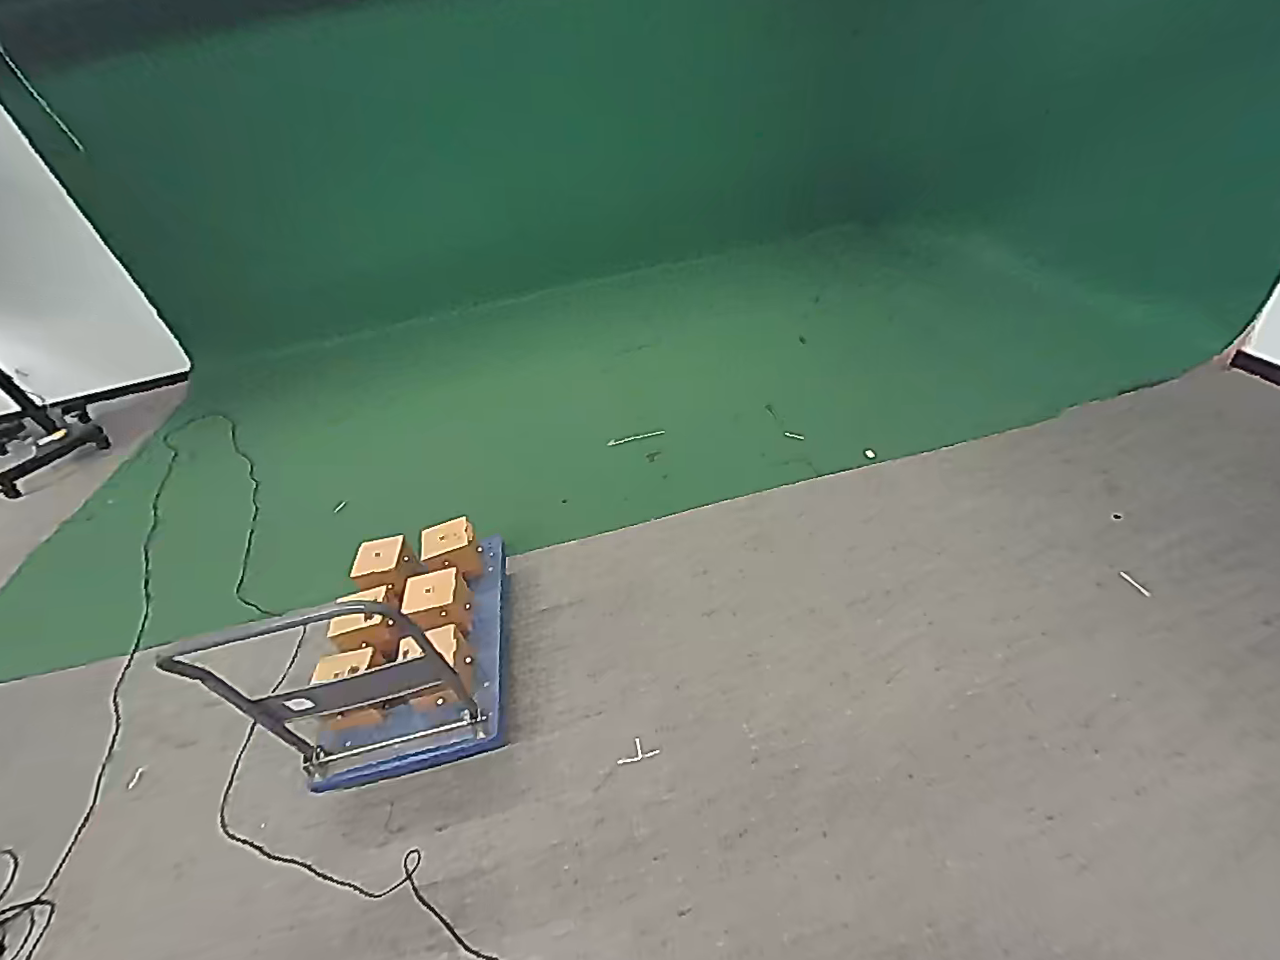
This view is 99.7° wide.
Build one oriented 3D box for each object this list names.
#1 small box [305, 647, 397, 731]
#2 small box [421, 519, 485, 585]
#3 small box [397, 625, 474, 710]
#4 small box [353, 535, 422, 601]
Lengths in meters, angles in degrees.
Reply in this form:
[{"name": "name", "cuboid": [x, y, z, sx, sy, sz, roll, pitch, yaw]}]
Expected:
[{"name": "small box", "cuboid": [-0.883, 0.649, 1.672, 0.179, 0.176, 0.168, -13, 39, 0]}, {"name": "small box", "cuboid": [-0.709, 0.279, 2.065, 0.179, 0.176, 0.168, -13, 42, -3]}, {"name": "small box", "cuboid": [-0.628, 0.585, 1.683, 0.179, 0.176, 0.168, -15, 39, -5]}, {"name": "small box", "cuboid": [-0.953, 0.342, 2.057, 0.168, 0.176, 0.179, -11, 40, -1]}]
